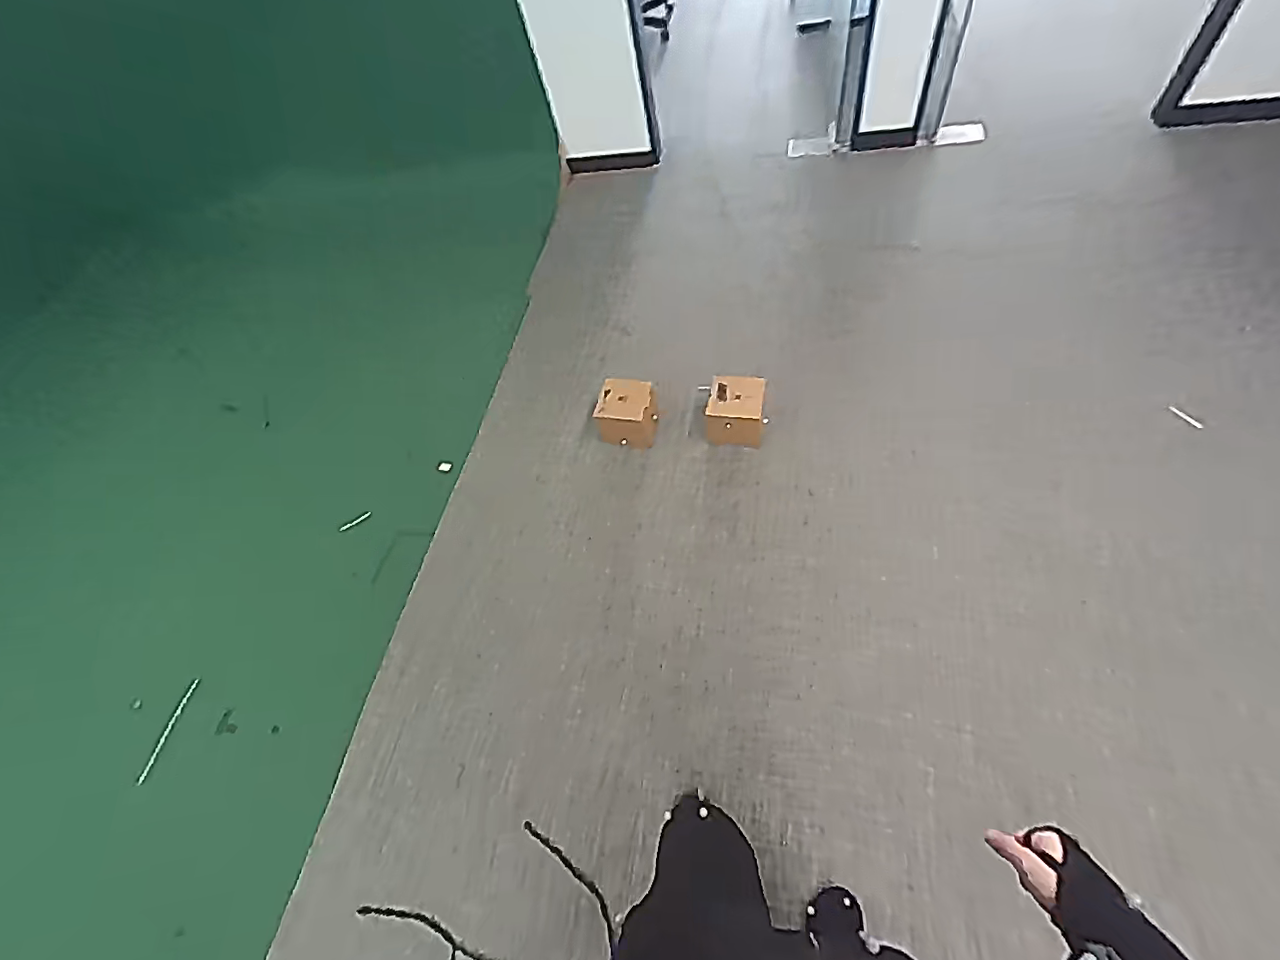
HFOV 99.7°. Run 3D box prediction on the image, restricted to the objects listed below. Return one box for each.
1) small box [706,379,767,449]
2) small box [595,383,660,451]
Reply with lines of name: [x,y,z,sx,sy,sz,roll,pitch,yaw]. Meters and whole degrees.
small box: [0.328,-0.218,1.811,0.179,0.176,0.168,6,62,15]
small box: [-0.036,-0.217,1.895,0.179,0.176,0.168,8,62,16]
